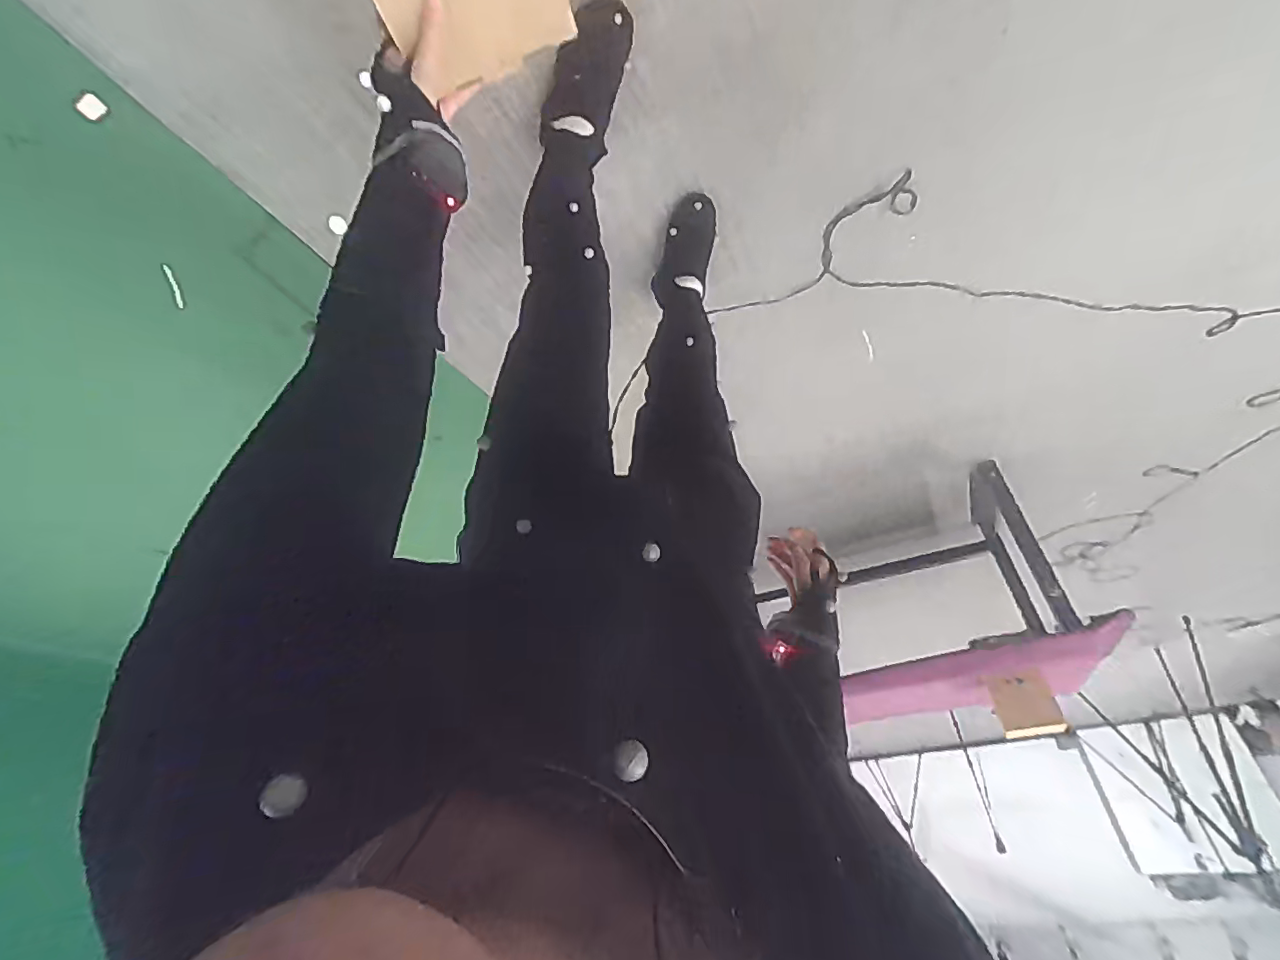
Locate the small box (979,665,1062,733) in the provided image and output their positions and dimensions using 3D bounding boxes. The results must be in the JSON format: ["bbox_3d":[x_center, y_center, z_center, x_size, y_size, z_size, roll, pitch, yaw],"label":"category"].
[{"bbox_3d":[1.209,0.700,1.728,0.168,0.176,0.179,-21,143,22],"label":"small box"}]

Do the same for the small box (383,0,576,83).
[{"bbox_3d":[-0.173,-0.525,0.510,0.168,0.176,0.179,-20,138,6],"label":"small box"}]
